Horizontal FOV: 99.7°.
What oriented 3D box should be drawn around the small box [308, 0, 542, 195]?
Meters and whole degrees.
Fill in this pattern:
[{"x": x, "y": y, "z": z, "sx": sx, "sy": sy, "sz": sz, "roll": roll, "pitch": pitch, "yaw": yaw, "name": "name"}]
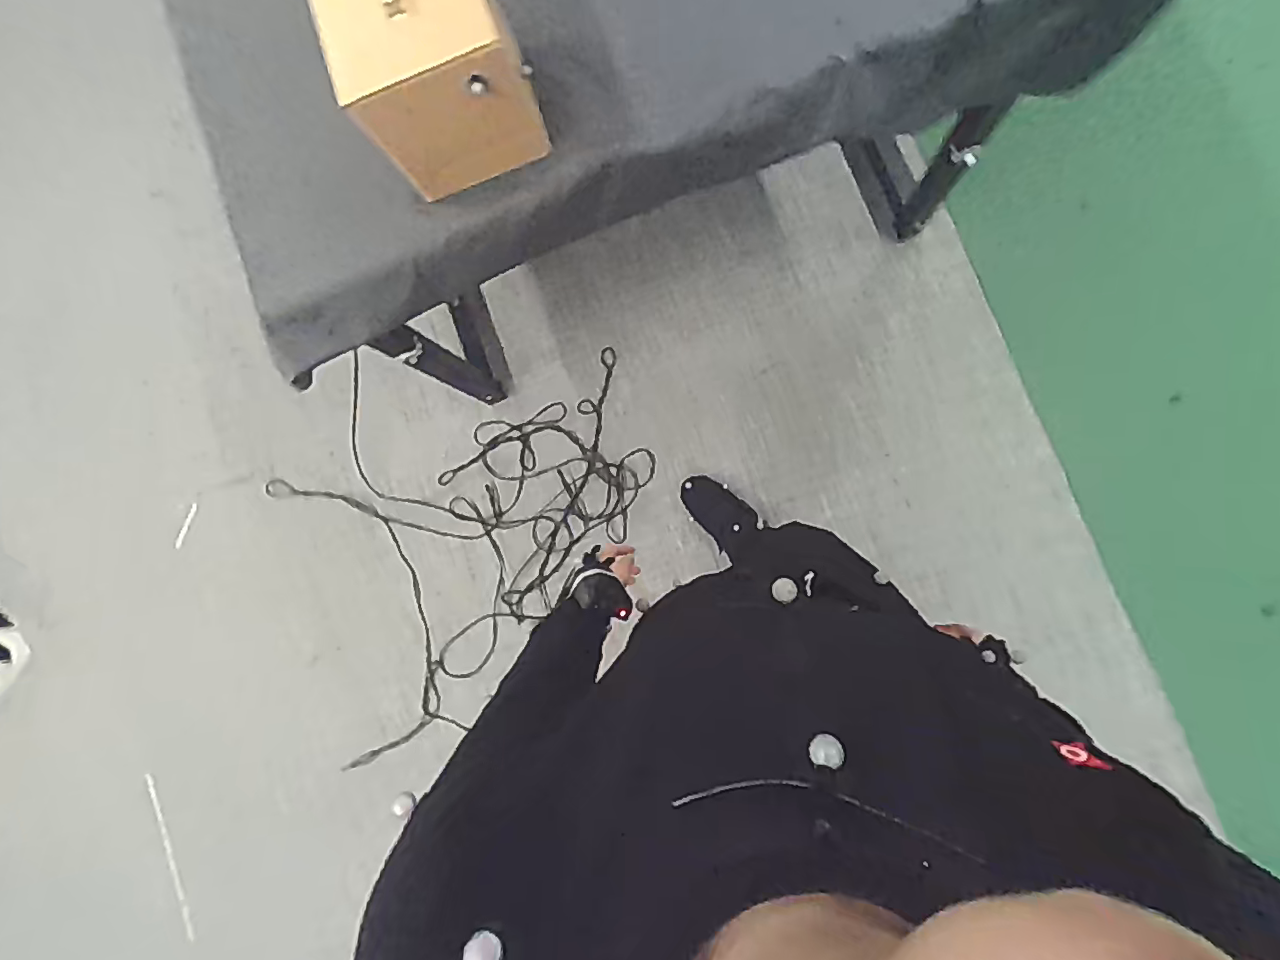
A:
[{"x": -0.238, "y": -0.471, "z": 0.625, "sx": 0.179, "sy": 0.176, "sz": 0.168, "roll": -19, "pitch": 82, "yaw": 5, "name": "small box"}]
